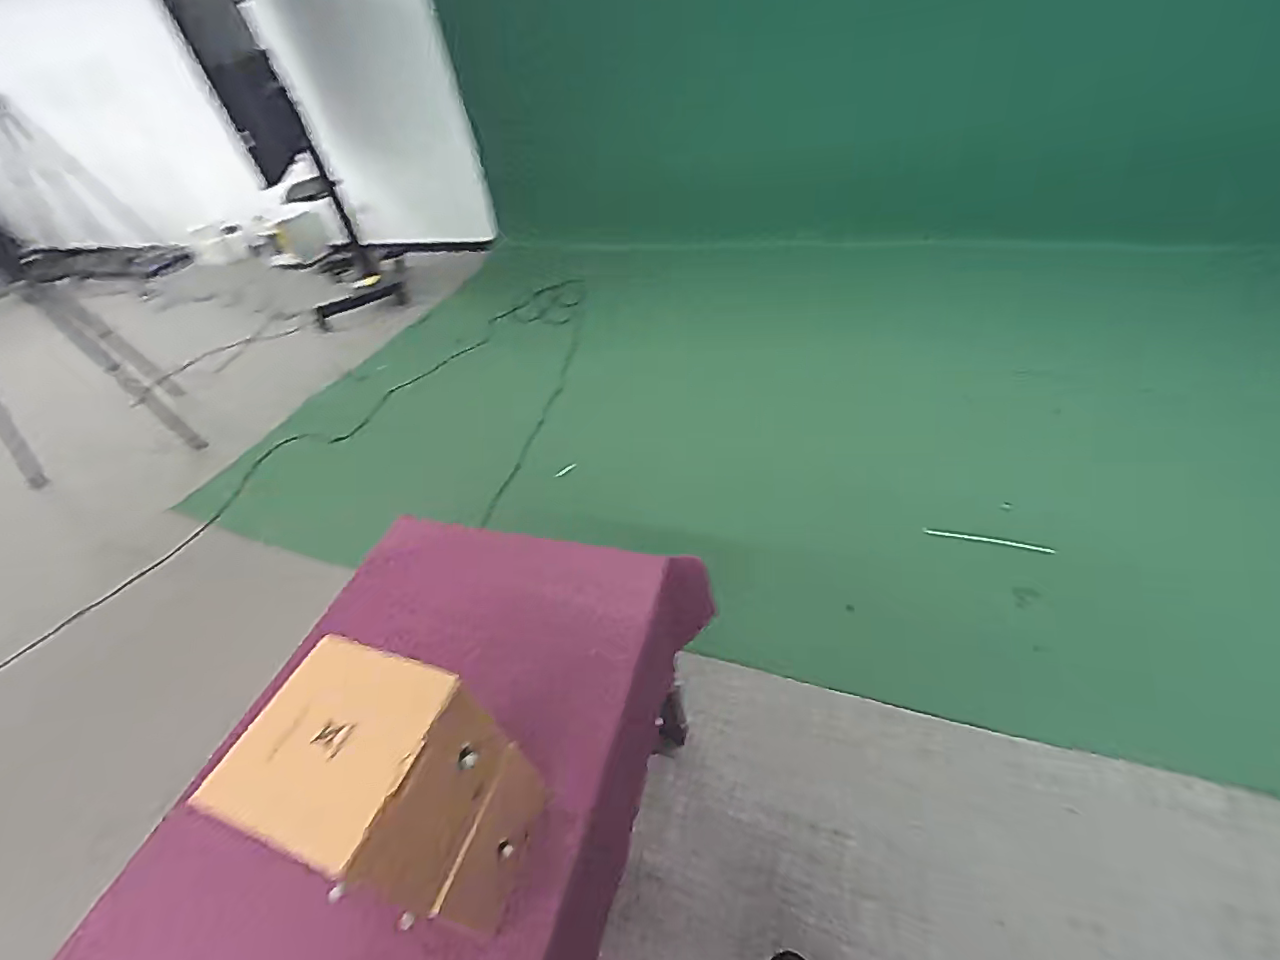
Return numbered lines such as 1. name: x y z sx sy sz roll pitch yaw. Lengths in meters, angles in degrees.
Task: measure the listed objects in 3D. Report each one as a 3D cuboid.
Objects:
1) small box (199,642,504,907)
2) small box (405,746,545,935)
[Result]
1. small box: -0.265 0.295 0.545 0.179 0.176 0.168 7 45 21
2. small box: -0.237 0.415 0.653 0.179 0.176 0.168 6 44 19
